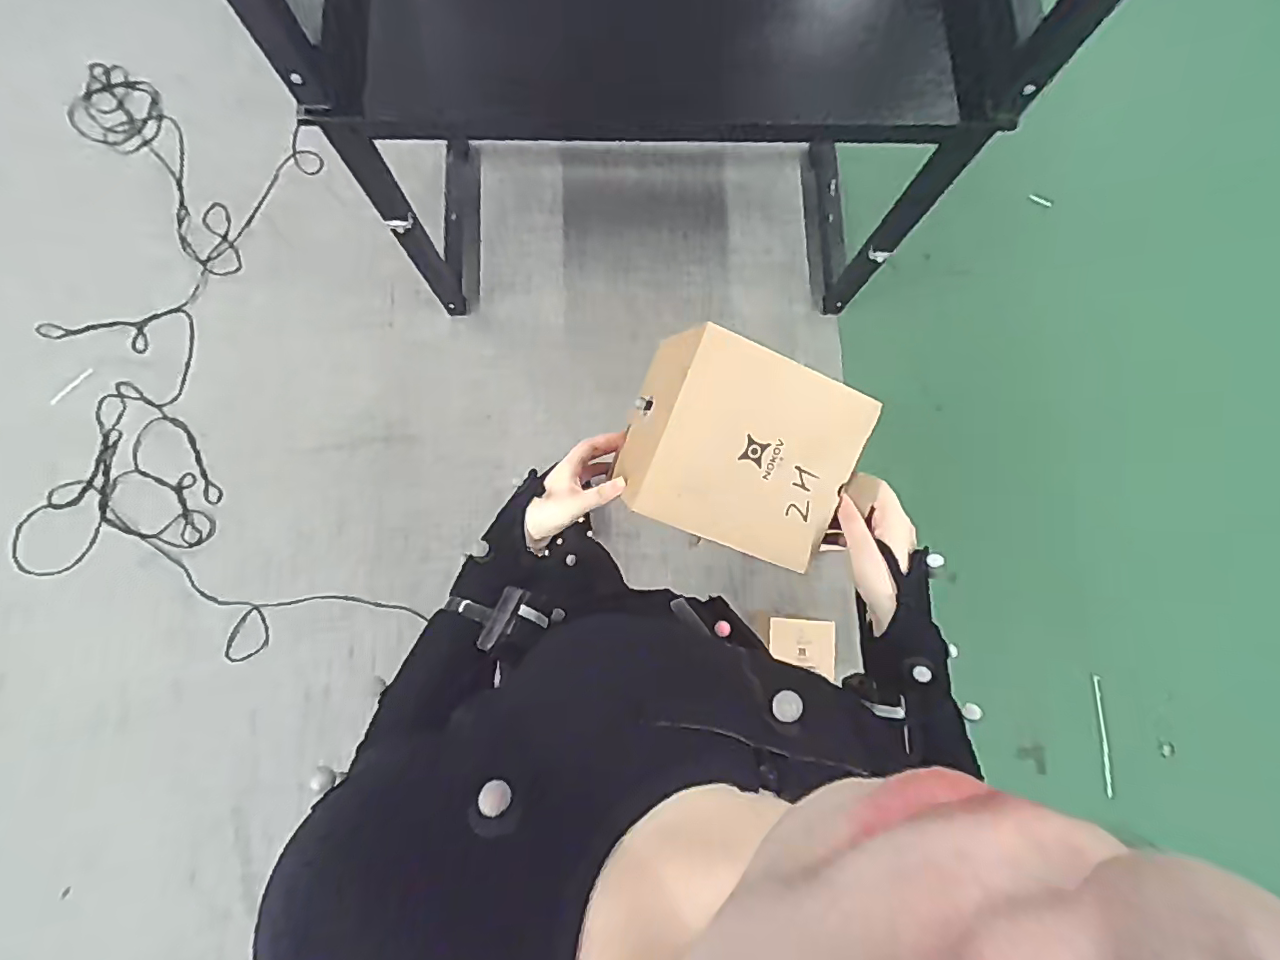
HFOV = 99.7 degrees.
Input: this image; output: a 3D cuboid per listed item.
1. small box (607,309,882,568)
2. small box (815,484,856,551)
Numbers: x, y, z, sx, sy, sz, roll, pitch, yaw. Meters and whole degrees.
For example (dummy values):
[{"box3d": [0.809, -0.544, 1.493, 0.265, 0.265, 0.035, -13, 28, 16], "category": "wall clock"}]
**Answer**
[{"box3d": [0.080, -0.040, 0.516, 0.179, 0.176, 0.168, 21, 96, -14], "category": "small box"}, {"box3d": [0.453, 0.106, 1.442, 0.179, 0.176, 0.168, -2, 81, -1], "category": "small box"}]
